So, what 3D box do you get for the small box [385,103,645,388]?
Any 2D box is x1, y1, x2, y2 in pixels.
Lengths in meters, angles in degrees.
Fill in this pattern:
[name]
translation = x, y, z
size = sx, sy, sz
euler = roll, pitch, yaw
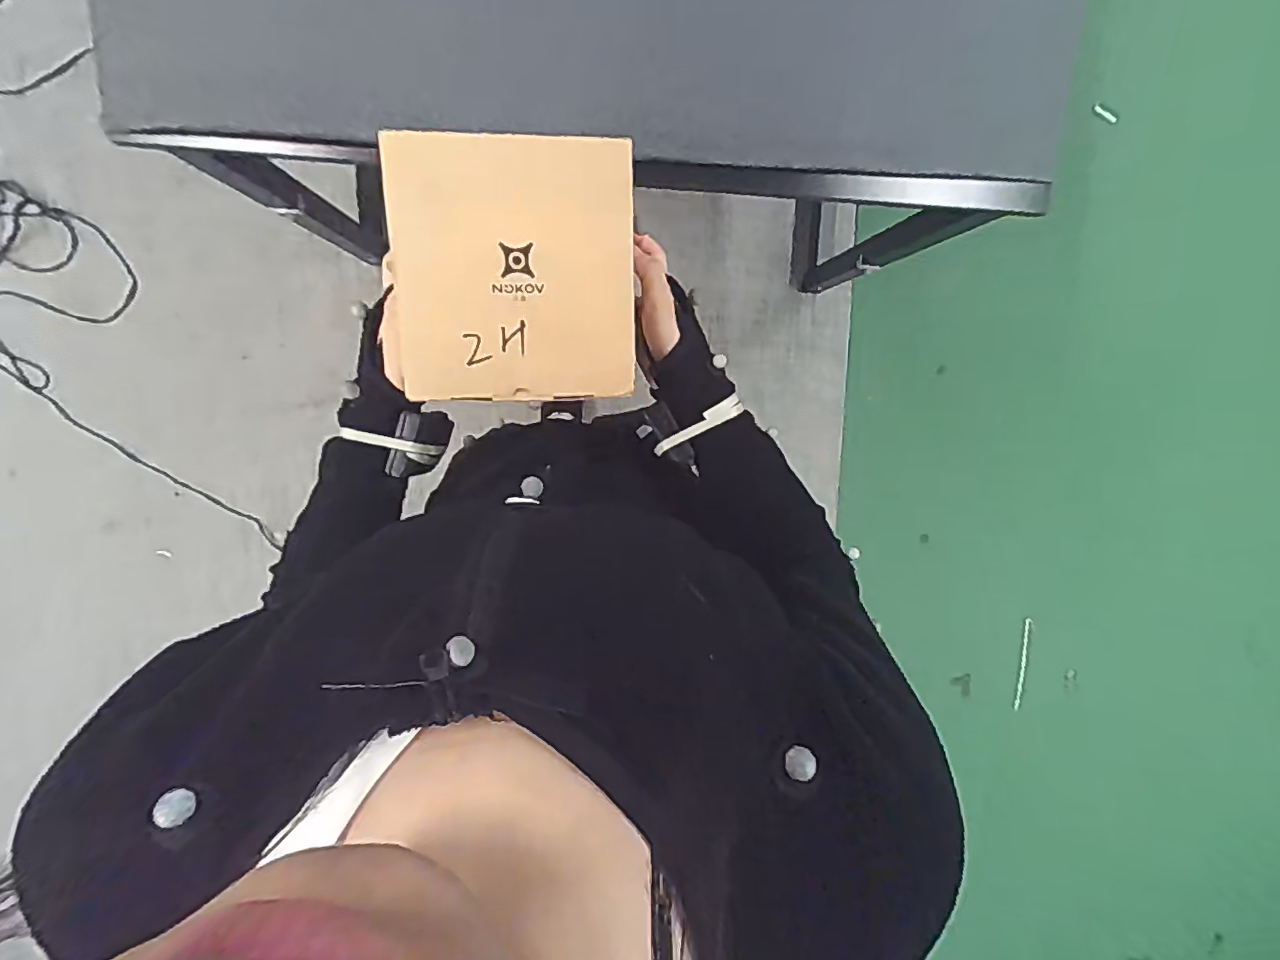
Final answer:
[small box]
translation = -0.089, -0.165, 0.437
size = 0.168, 0.176, 0.179
euler = -1, 102, -6
